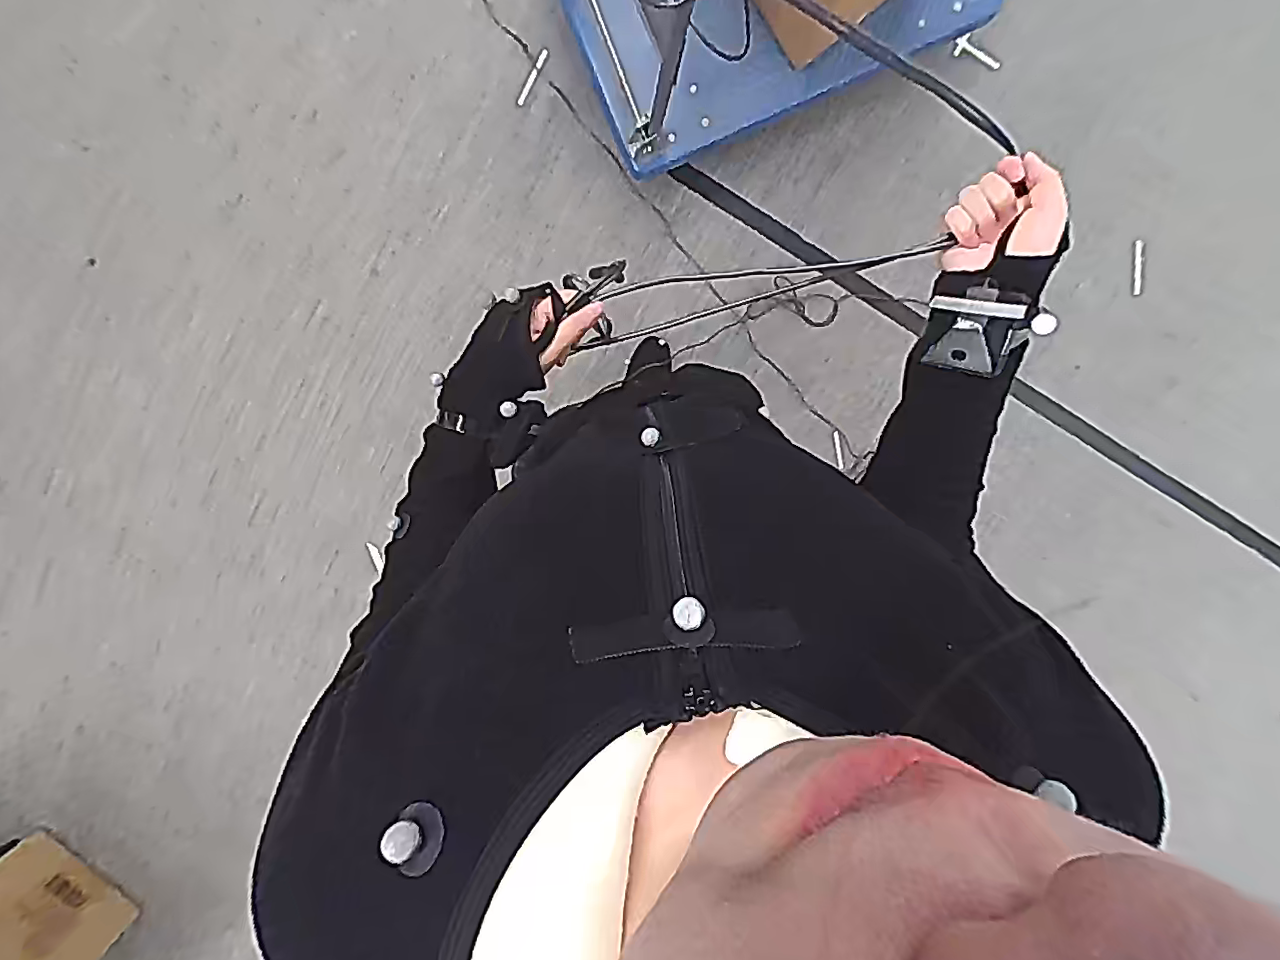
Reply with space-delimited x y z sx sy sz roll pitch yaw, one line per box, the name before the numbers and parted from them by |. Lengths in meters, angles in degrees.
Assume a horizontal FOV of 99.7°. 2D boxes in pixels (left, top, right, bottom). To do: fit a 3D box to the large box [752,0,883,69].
large box | 0.338 -1.087 0.962 0.320 0.320 0.408 -37 100 6
